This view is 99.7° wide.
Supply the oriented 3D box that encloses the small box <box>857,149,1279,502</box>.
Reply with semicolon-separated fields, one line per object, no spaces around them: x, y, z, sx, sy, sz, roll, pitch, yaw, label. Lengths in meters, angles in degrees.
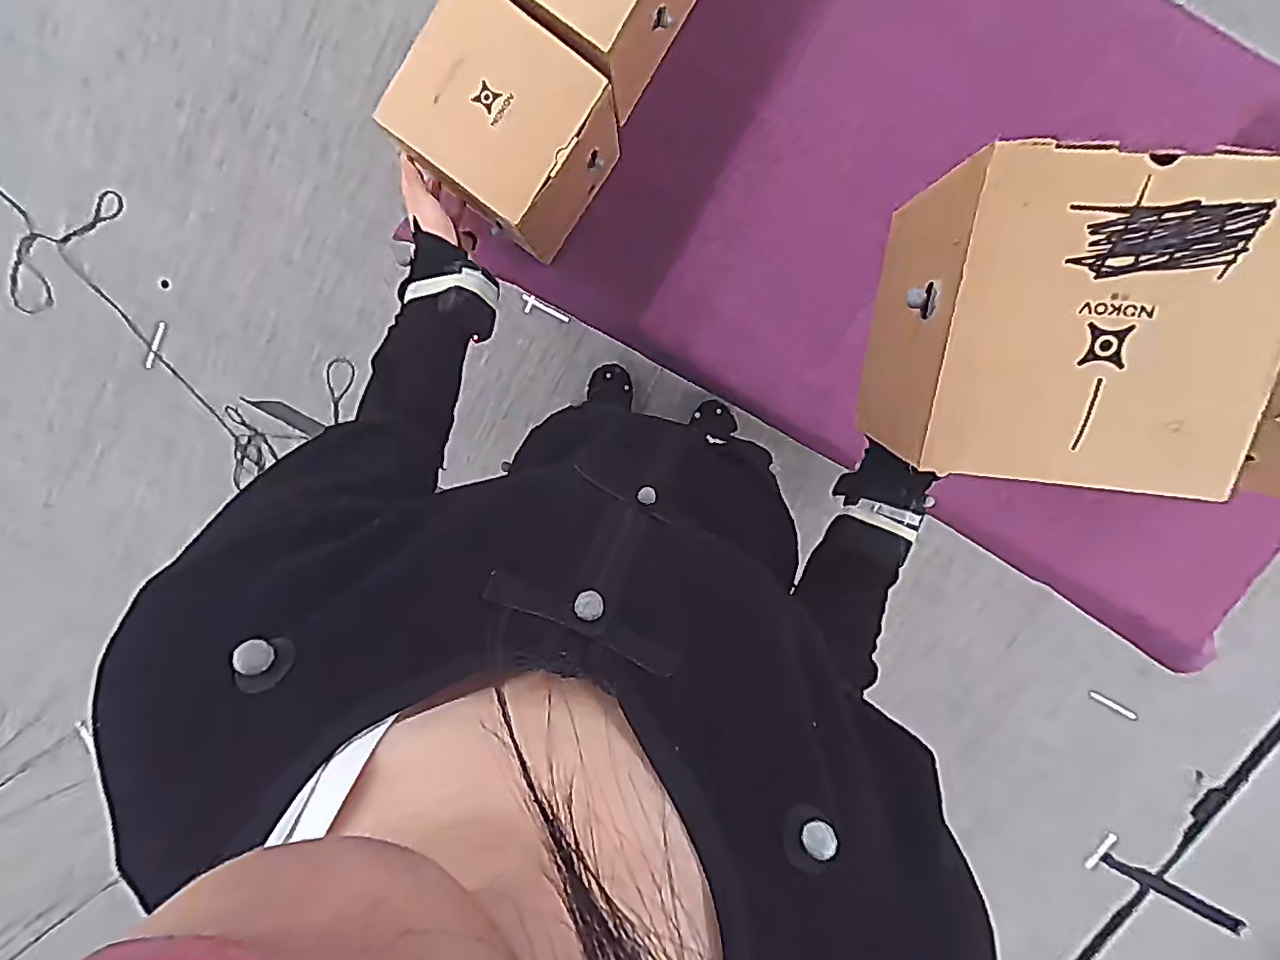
0.265;-0.100;0.374;0.168;0.176;0.179;7;106;7;small box
